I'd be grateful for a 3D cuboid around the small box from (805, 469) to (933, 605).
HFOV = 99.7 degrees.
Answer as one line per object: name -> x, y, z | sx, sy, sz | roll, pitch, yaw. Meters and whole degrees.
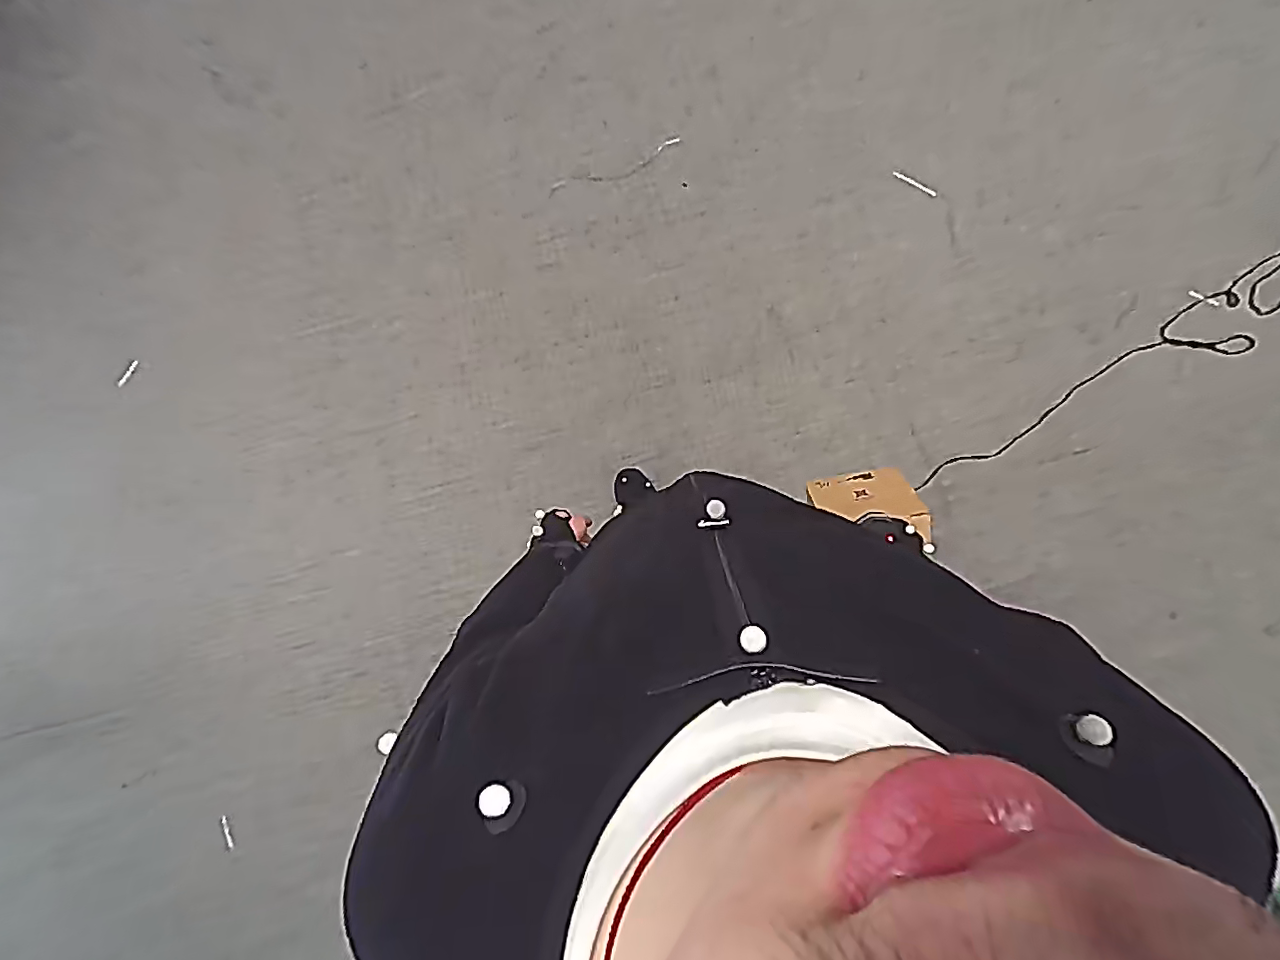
small box -> 0.408, 0.107, 0.971 | 0.168, 0.179, 0.176 | -13, 115, 10
